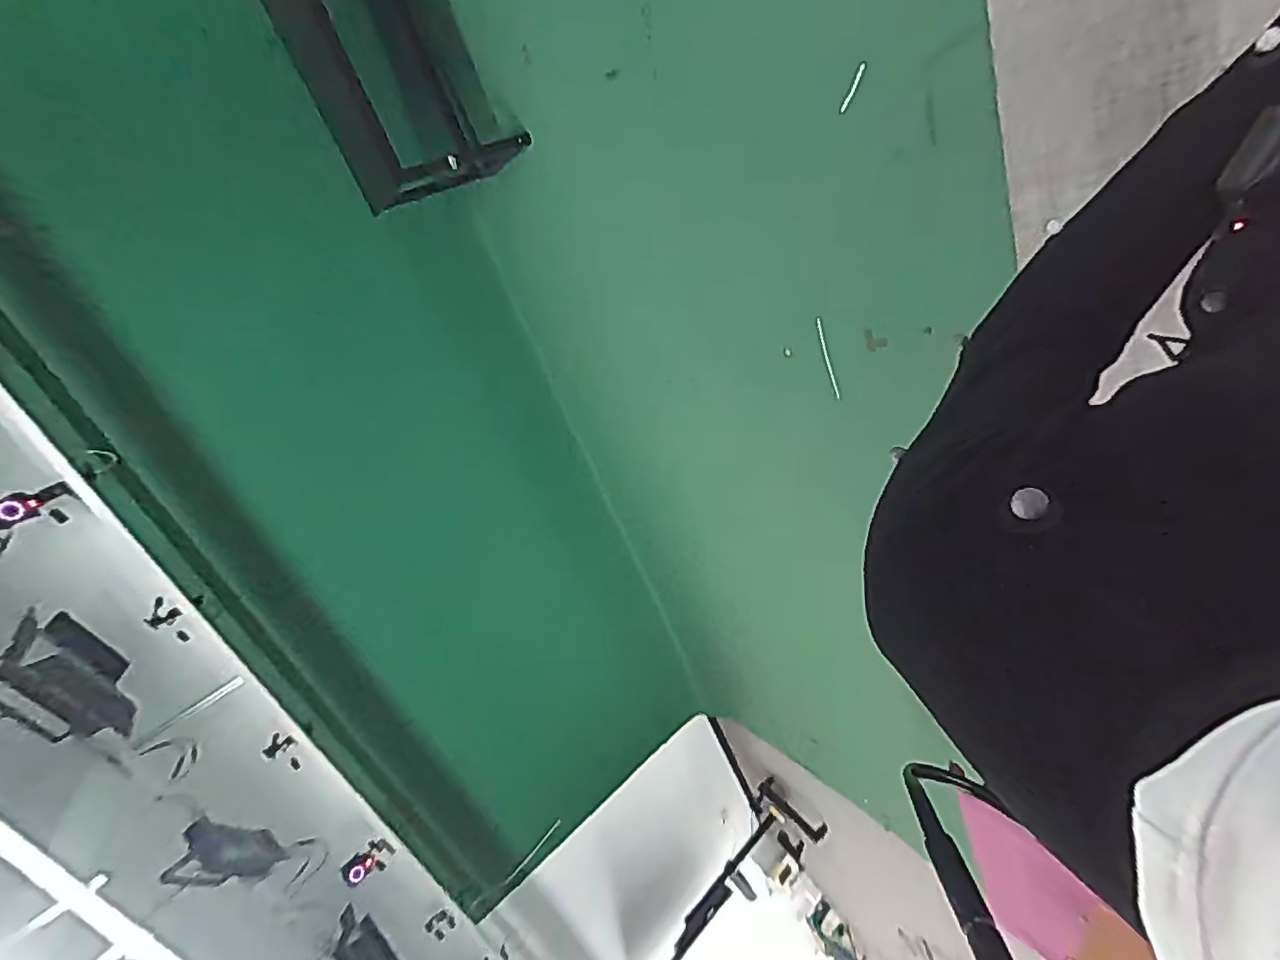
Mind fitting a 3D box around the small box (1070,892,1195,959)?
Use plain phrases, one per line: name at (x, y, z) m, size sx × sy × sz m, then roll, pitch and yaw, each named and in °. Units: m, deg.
small box at (1.127, 1.115, 1.245) m, size 0.179 × 0.176 × 0.168 m, roll 22°, pitch 140°, yaw 50°
